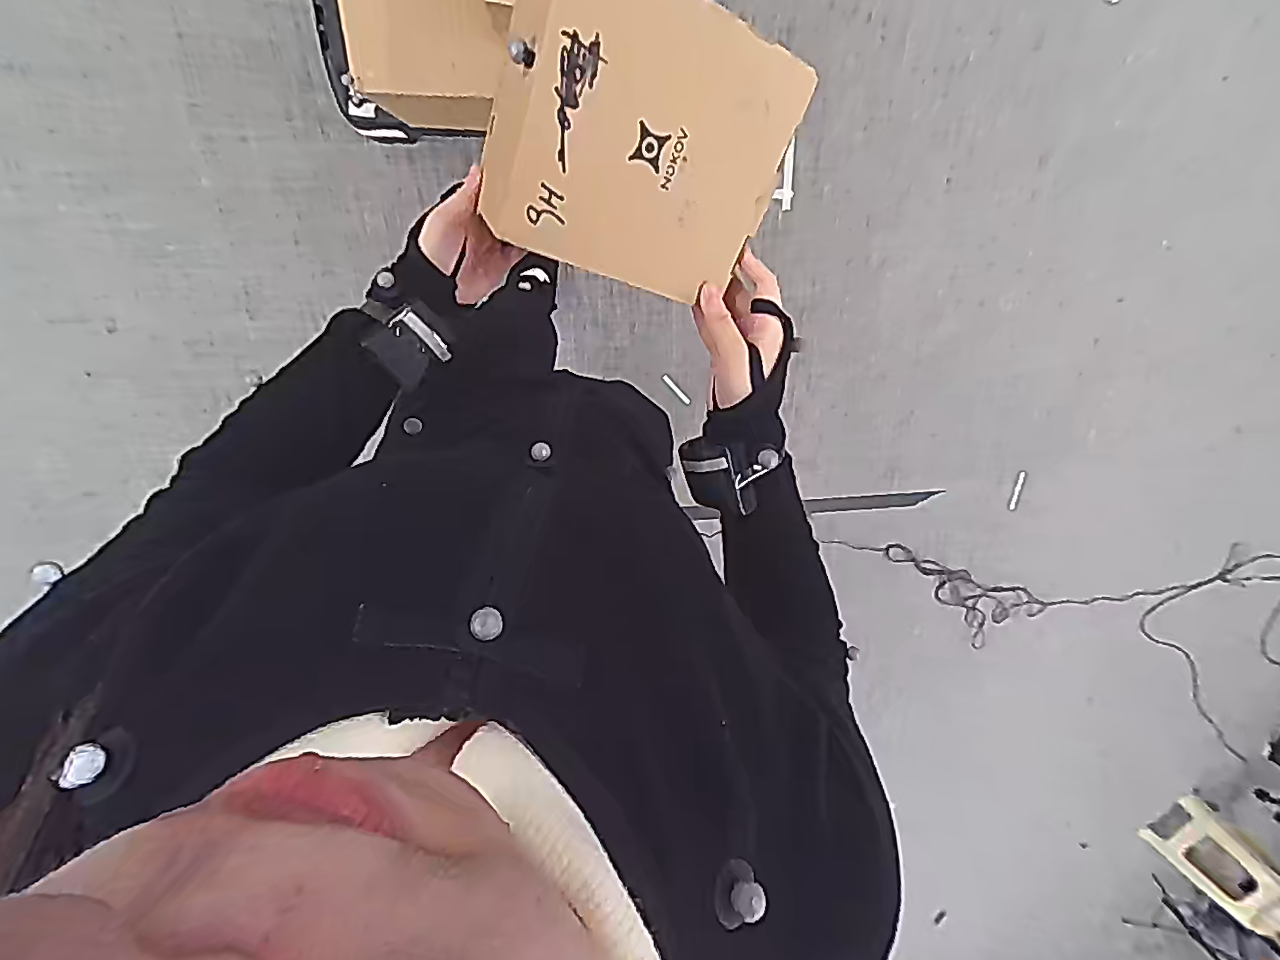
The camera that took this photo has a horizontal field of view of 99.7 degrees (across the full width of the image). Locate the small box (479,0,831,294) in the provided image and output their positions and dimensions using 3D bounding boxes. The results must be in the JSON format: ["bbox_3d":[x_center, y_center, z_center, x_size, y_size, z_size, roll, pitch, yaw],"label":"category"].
[{"bbox_3d":[-0.007,-0.263,0.398,0.179,0.176,0.168,10,118,-28],"label":"small box"}]

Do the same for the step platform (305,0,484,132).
[{"bbox_3d":[-0.244,-0.814,1.030,0.684,0.204,0.286,2,115,-9],"label":"step platform"}]

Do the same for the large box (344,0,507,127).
[{"bbox_3d":[-0.194,-0.729,0.811,0.408,0.320,0.320,-3,115,-6],"label":"large box"}]
